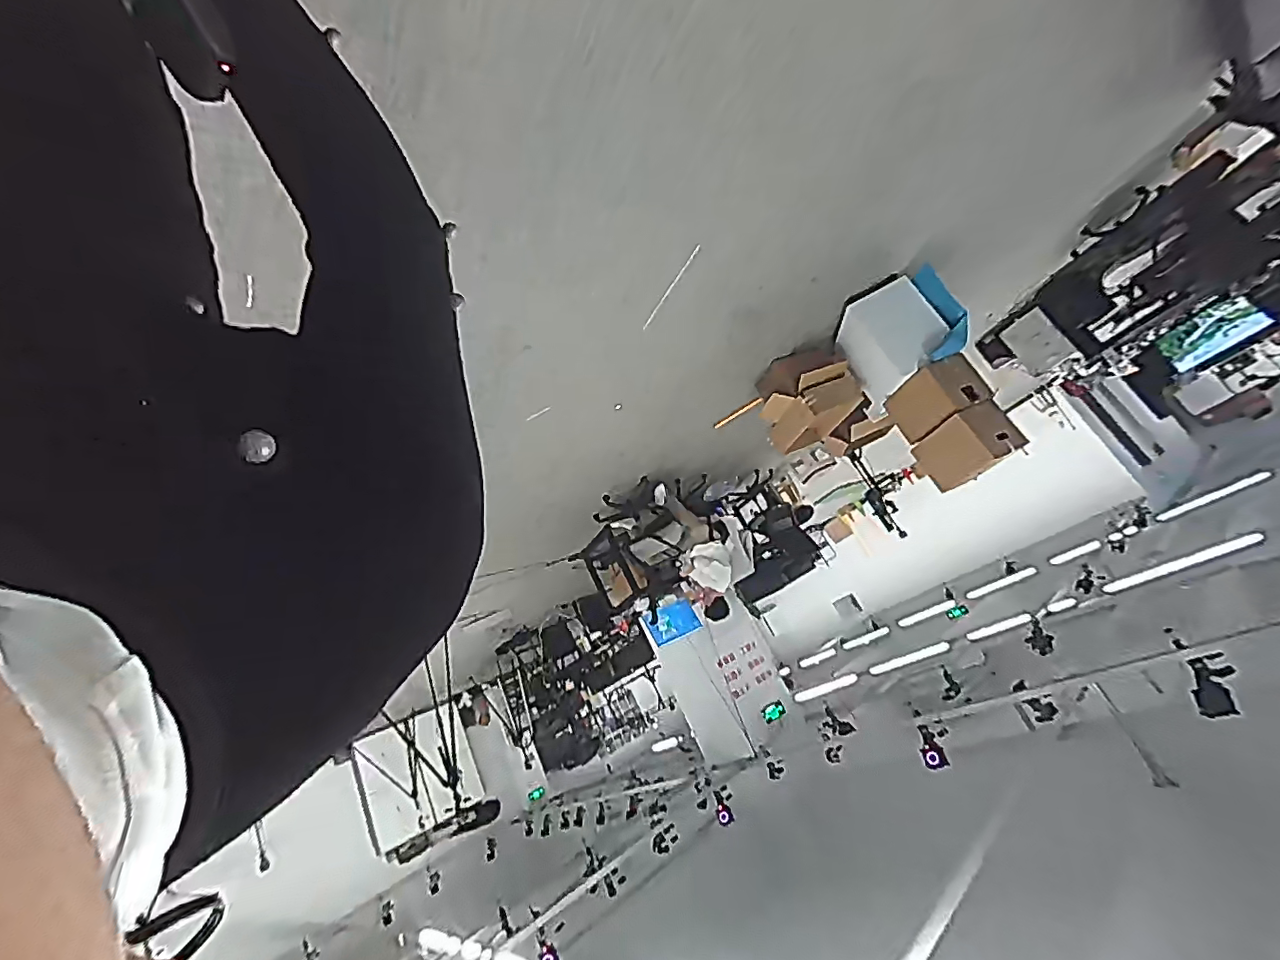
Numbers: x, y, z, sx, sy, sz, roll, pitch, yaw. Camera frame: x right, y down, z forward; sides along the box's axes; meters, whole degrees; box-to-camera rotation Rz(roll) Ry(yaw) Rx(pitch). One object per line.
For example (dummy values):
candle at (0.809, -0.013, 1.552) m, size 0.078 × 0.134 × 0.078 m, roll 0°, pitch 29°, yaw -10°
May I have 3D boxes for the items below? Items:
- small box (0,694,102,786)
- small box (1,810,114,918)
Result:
small box at (-1.664, 0.727, 1.525) m, size 0.179 × 0.176 × 0.168 m, roll -10°, pitch 155°, yaw -41°
small box at (-1.512, 0.994, 1.409) m, size 0.179 × 0.176 × 0.168 m, roll -10°, pitch 154°, yaw -43°
